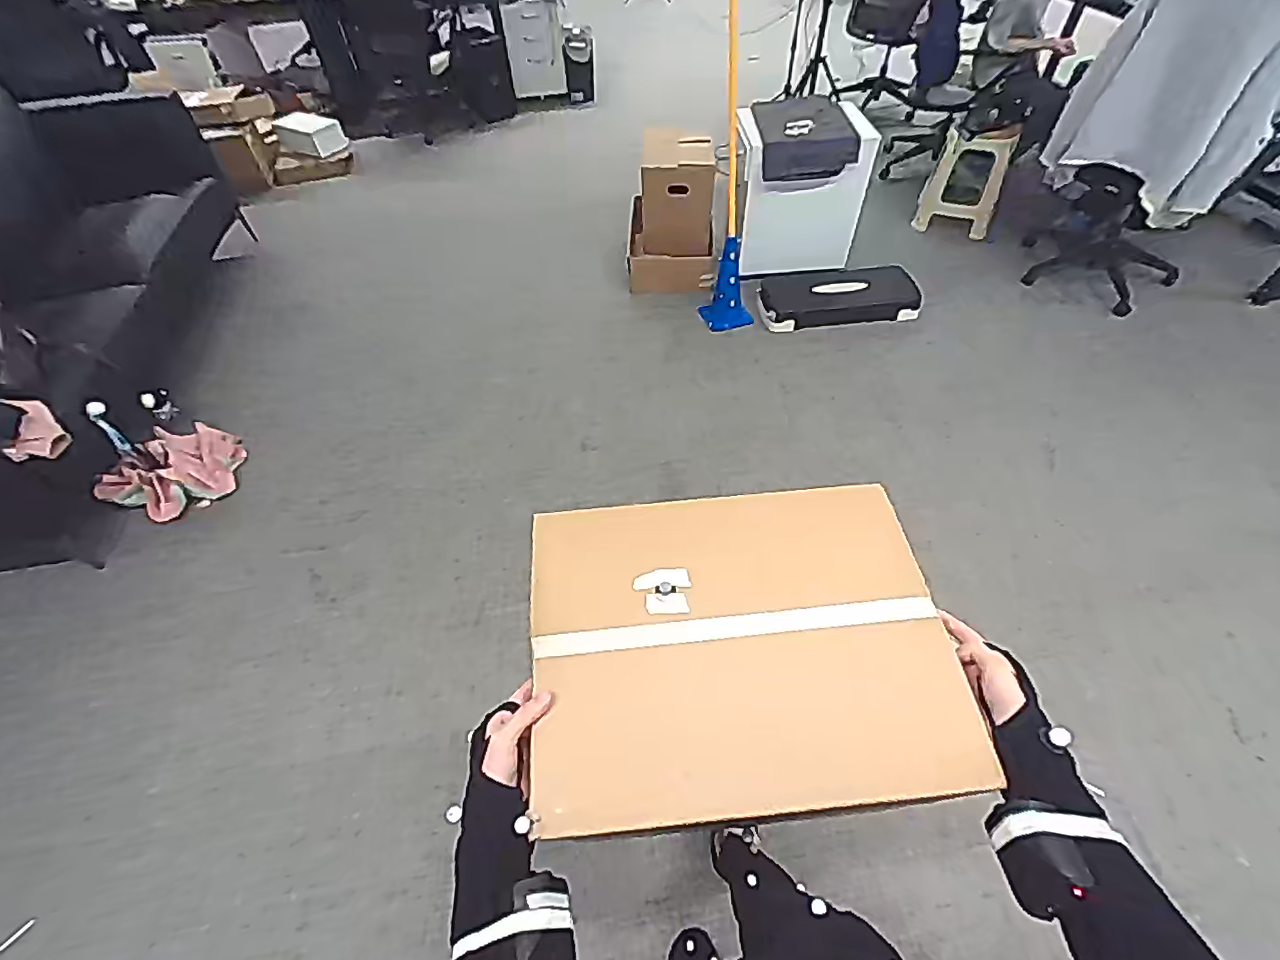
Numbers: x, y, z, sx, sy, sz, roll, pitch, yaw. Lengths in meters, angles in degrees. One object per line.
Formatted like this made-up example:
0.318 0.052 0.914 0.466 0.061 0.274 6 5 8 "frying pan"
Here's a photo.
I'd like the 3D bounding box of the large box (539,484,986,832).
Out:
0.103 0.234 0.677 0.408 0.320 0.320 -6 55 -1 "large box"
